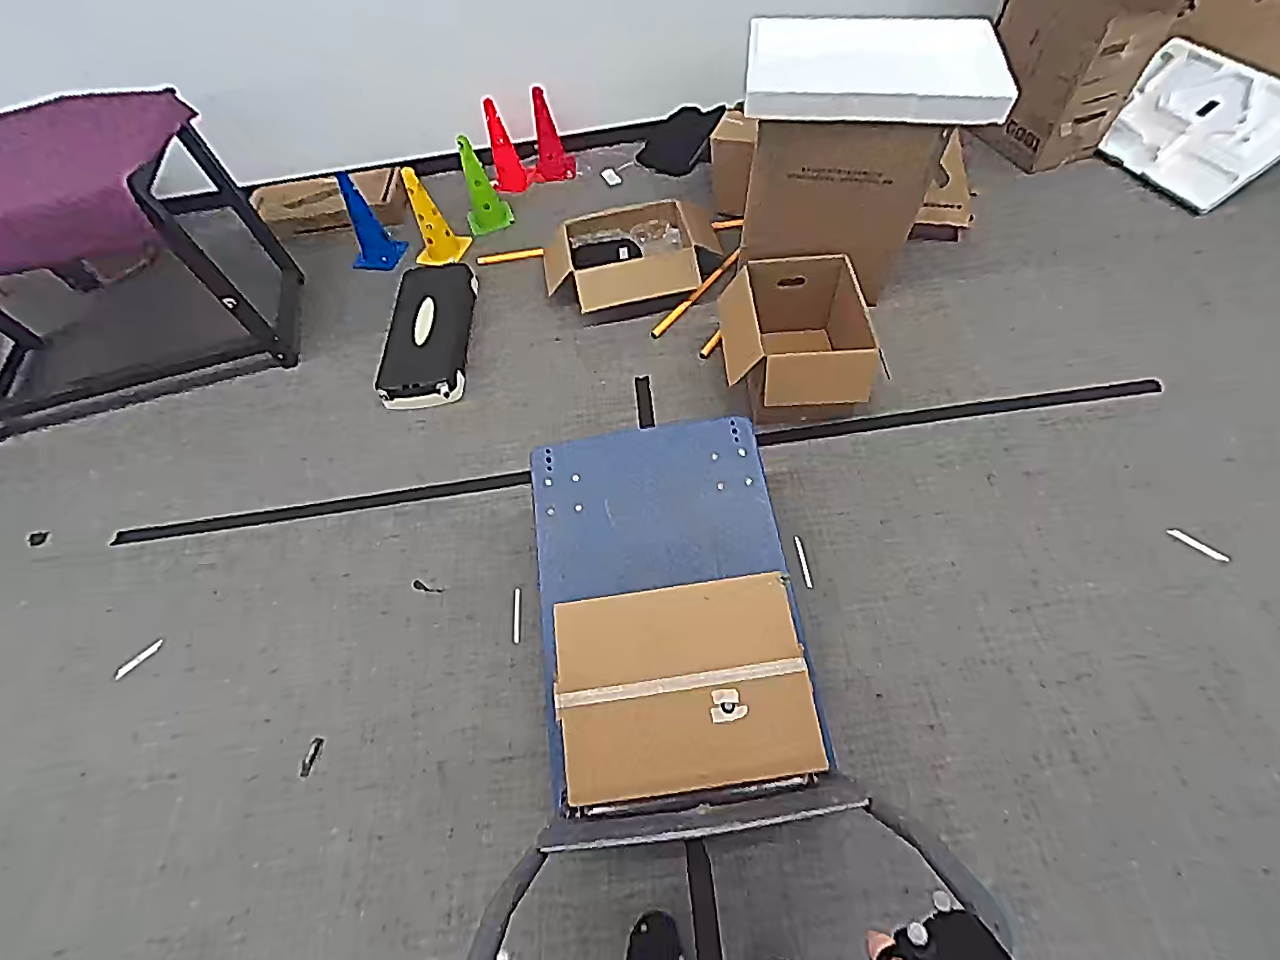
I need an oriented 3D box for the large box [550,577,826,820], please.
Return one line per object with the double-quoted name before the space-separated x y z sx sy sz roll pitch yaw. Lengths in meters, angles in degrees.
"large box" 0.071 0.394 1.007 0.408 0.320 0.320 -9 69 -1
